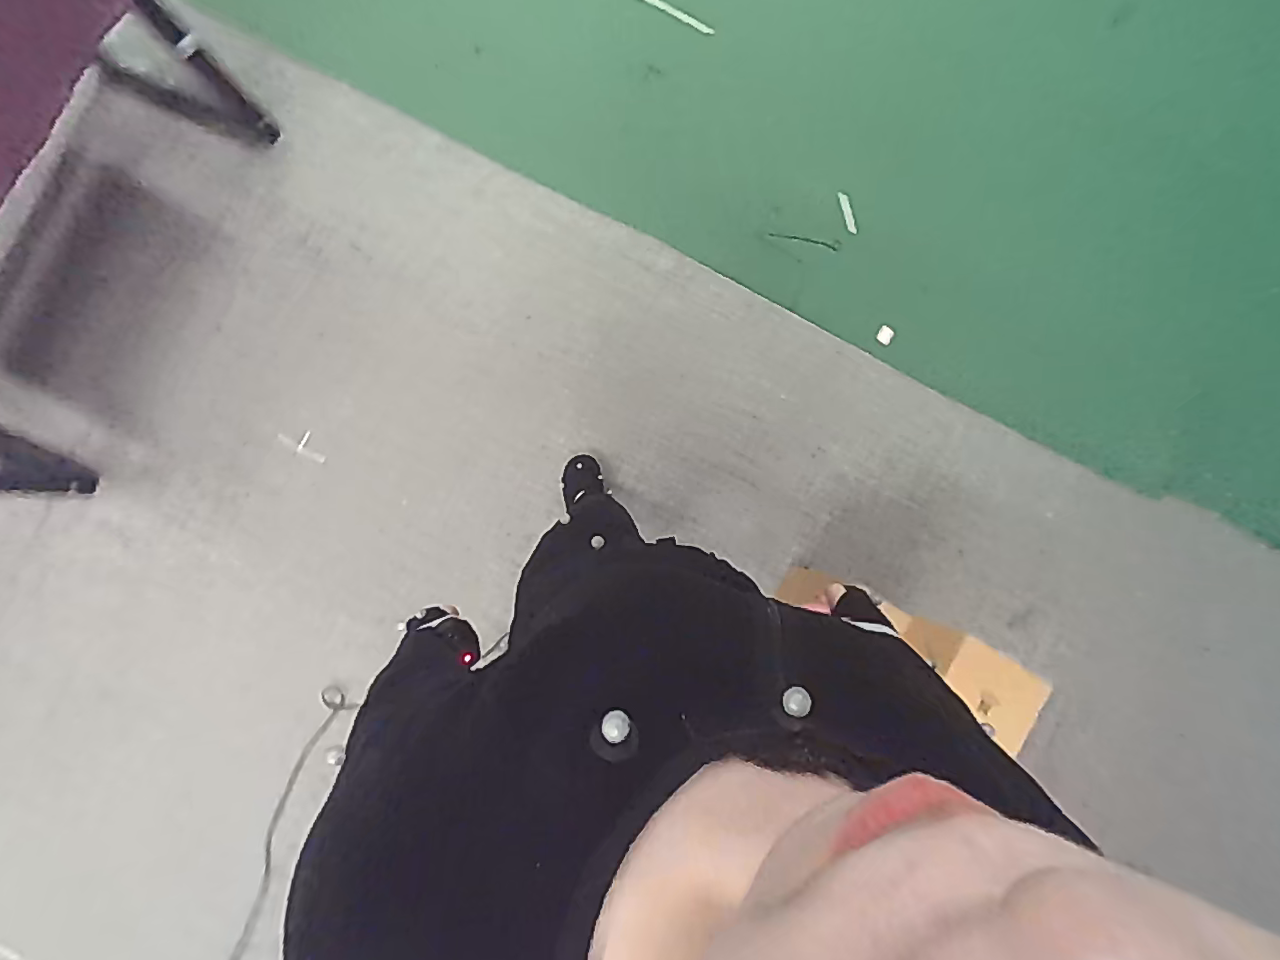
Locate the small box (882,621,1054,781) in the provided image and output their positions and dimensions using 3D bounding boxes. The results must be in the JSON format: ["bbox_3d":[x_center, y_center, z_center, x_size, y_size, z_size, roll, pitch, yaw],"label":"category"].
[{"bbox_3d":[0.561,0.377,0.957,0.168,0.176,0.179,33,86,1],"label":"small box"}]

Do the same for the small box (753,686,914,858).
[{"bbox_3d":[0.325,0.494,0.947,0.179,0.176,0.168,35,87,1],"label":"small box"}]
